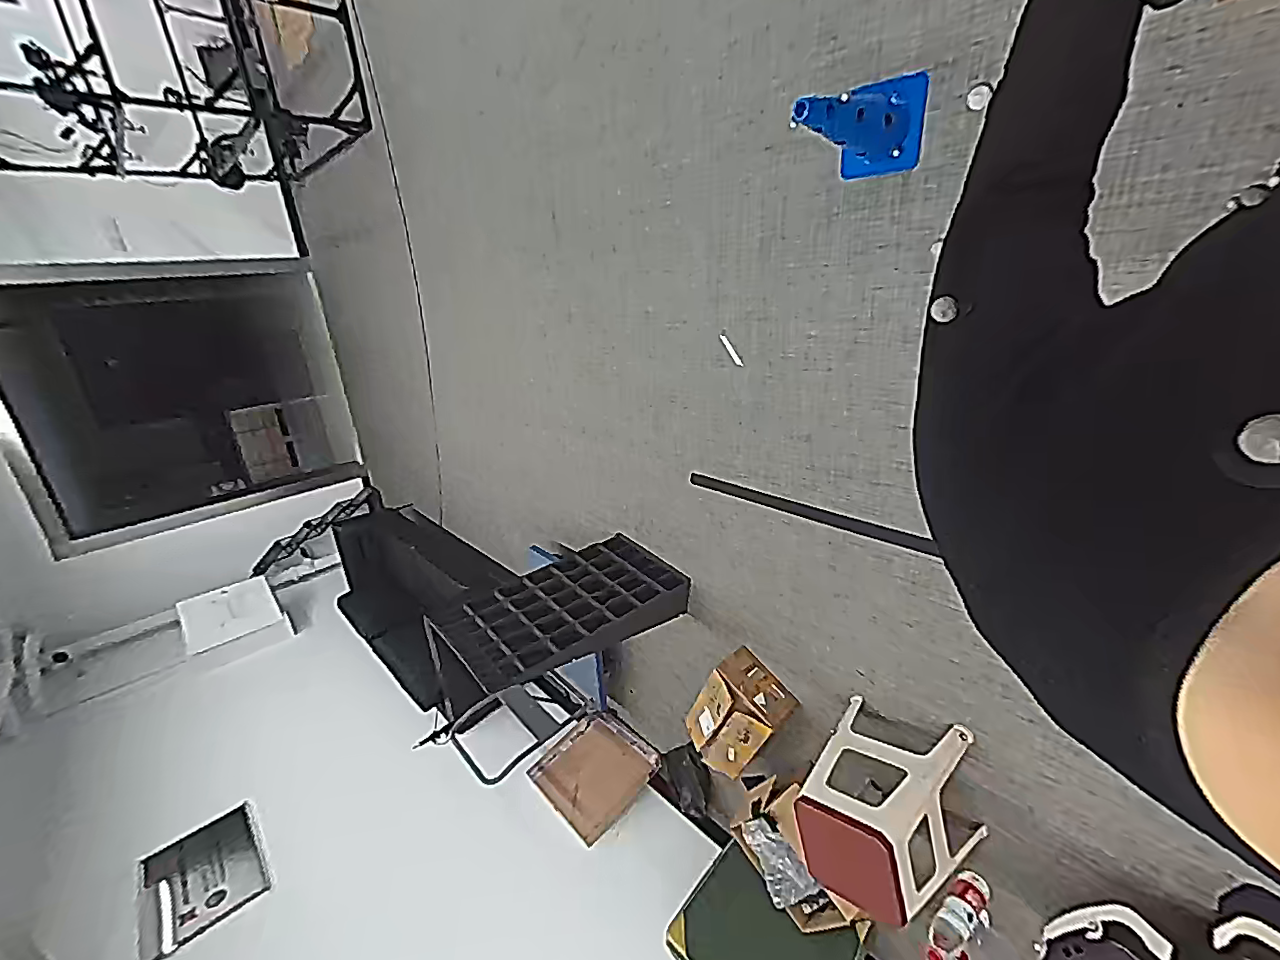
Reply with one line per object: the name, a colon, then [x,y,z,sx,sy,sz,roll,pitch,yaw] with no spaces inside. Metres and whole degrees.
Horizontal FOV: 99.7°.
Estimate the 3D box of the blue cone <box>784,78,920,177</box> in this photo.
blue cone: [0.463,-0.818,1.233,0.192,0.380,0.193,23,124,44]
